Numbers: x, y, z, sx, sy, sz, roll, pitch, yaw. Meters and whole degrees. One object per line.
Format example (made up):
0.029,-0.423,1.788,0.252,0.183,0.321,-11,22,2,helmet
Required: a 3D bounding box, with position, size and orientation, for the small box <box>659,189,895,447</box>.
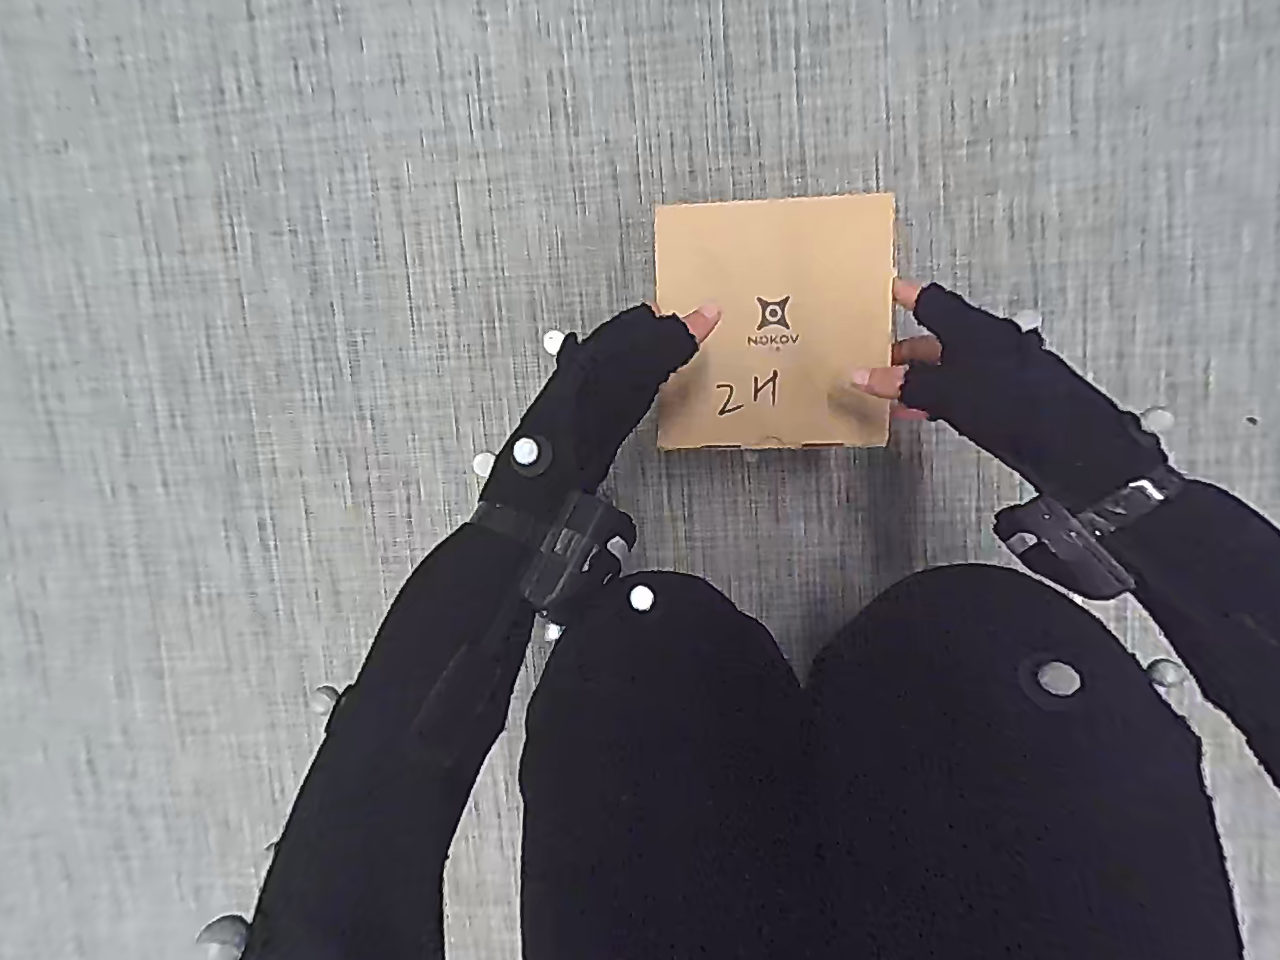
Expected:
0.100,-0.118,0.460,0.168,0.176,0.179,-2,95,5,small box
